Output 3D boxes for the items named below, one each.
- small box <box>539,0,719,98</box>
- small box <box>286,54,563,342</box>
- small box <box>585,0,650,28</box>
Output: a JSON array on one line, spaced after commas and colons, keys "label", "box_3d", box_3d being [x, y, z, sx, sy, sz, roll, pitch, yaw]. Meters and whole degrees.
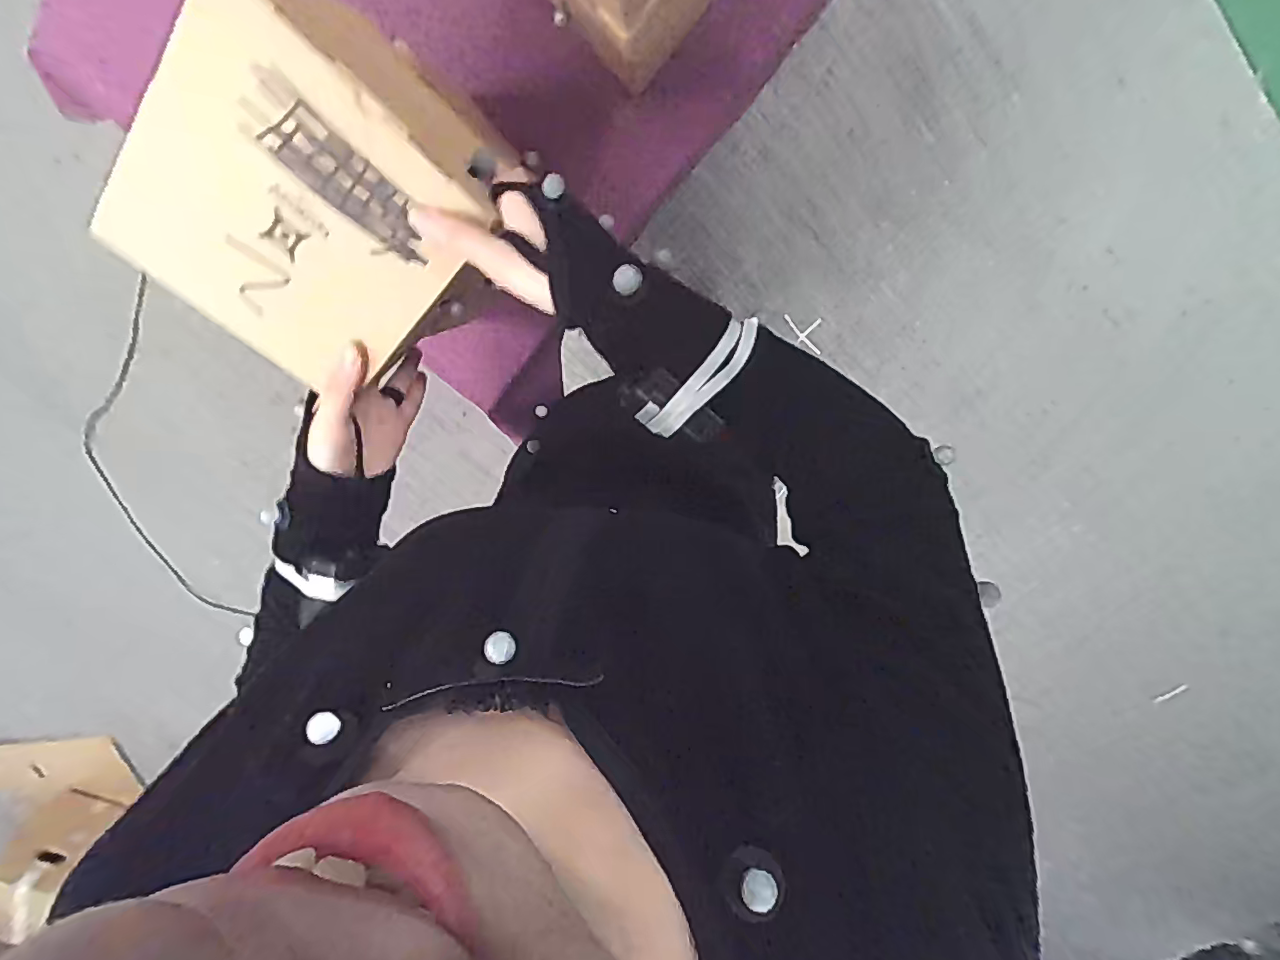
[{"label": "small box", "box_3d": [-0.009, -0.479, 0.459, 0.168, 0.176, 0.179, 43, 108, -13]}, {"label": "small box", "box_3d": [-0.201, -0.270, 0.557, 0.179, 0.176, 0.168, -39, 106, 16]}, {"label": "small box", "box_3d": [-0.021, -0.421, 0.306, 0.168, 0.176, 0.179, 40, 108, -13]}]
